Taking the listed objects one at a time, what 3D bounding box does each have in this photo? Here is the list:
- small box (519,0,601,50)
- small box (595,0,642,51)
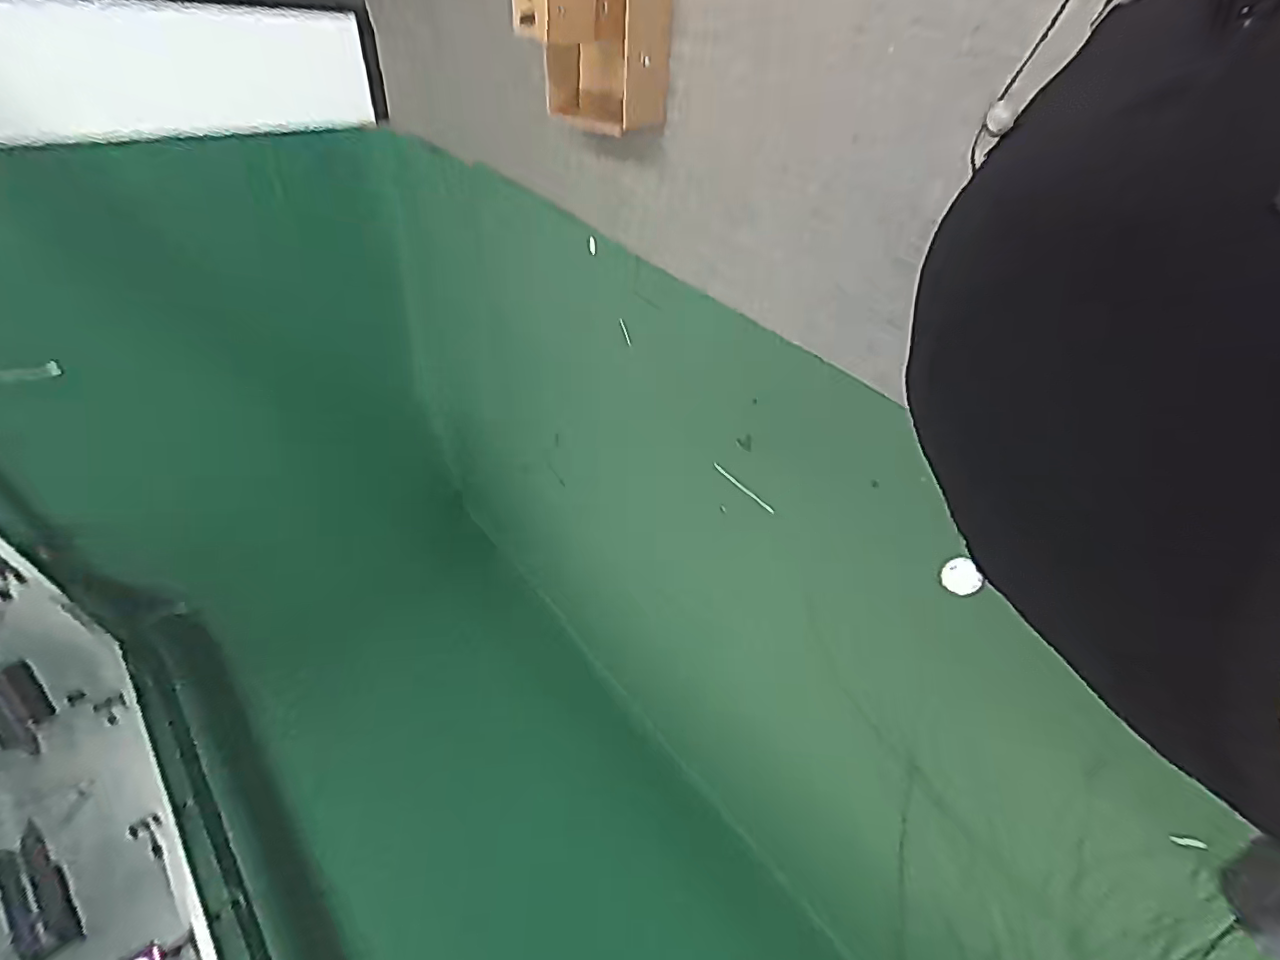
[{"bbox_3d":[-0.221,-1.321,1.503,0.168,0.176,0.179,39,139,29],"label":"small box"},{"bbox_3d":[-0.110,-1.393,1.602,0.168,0.176,0.179,36,138,31],"label":"small box"}]
